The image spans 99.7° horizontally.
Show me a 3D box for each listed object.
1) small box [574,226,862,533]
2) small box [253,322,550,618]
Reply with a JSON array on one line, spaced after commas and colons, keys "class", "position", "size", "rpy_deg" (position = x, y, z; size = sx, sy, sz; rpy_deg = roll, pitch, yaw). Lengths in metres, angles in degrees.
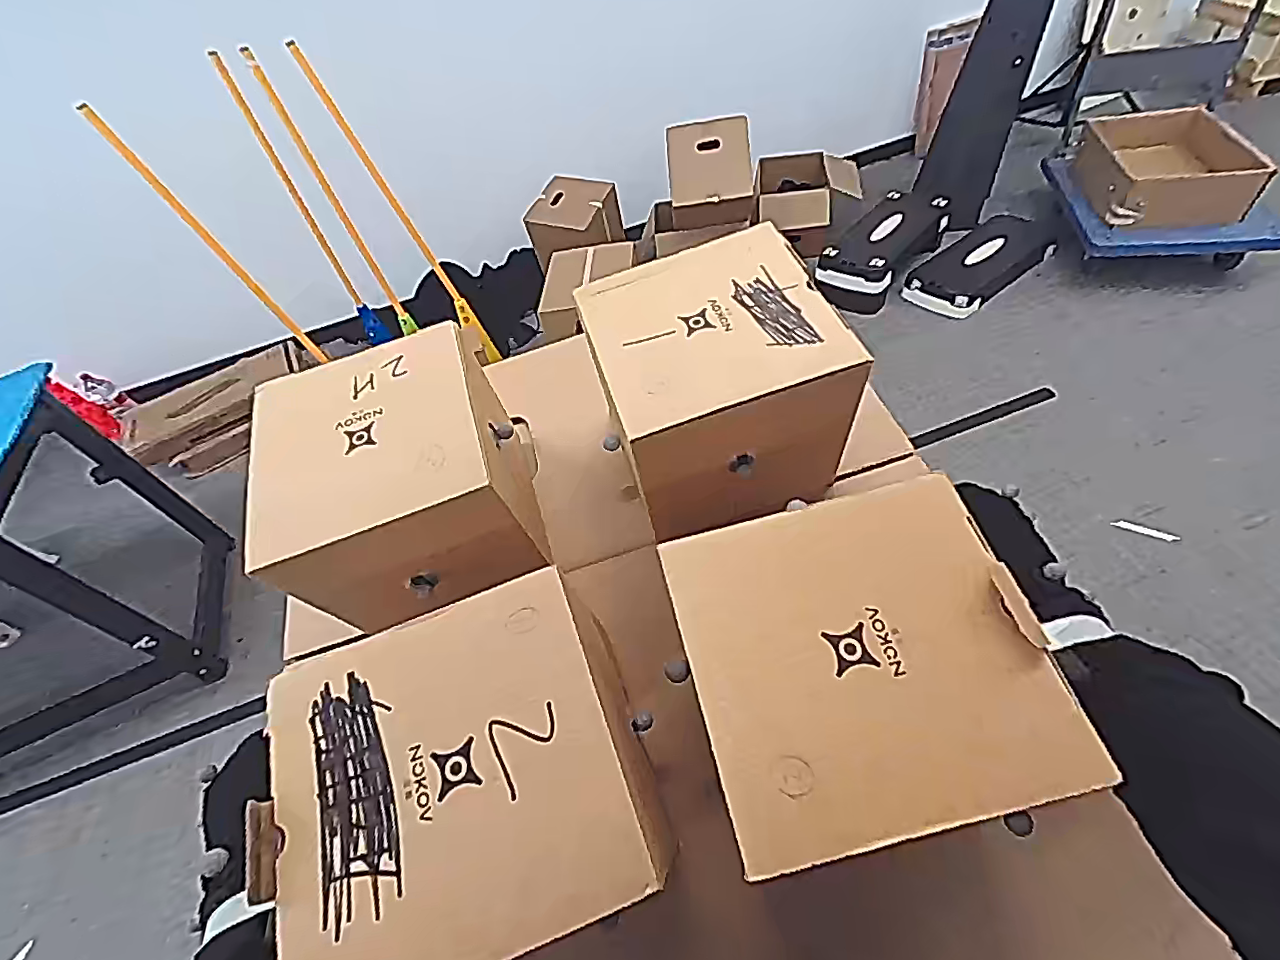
[{"class": "small box", "position": [0.060, -0.078, 0.473], "size": [0.179, 0.176, 0.168], "rpy_deg": [-19, 58, -1]}, {"class": "small box", "position": [-0.190, 0.004, 0.468], "size": [0.168, 0.176, 0.179], "rpy_deg": [-20, 58, -3]}]
